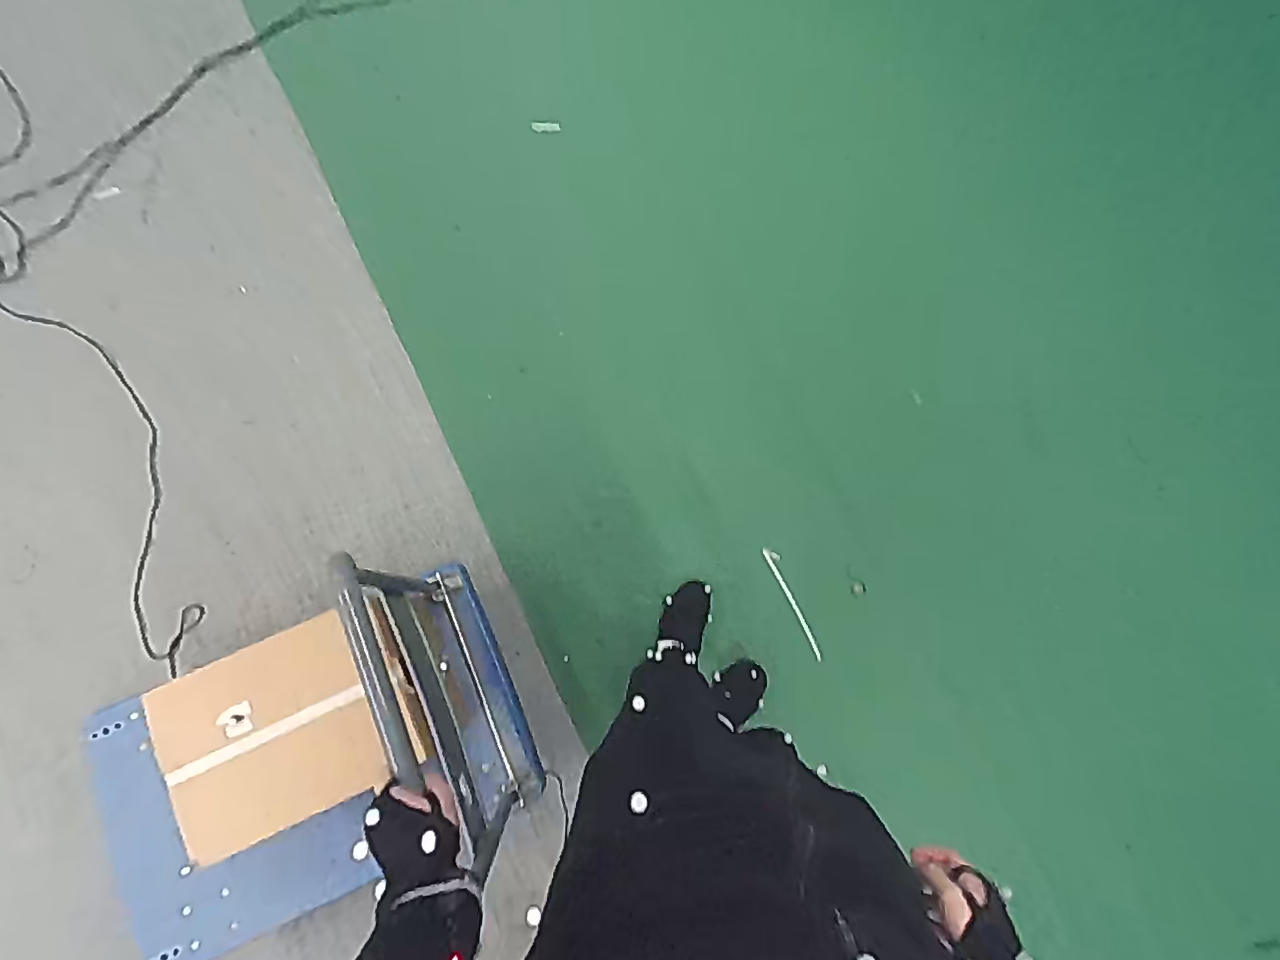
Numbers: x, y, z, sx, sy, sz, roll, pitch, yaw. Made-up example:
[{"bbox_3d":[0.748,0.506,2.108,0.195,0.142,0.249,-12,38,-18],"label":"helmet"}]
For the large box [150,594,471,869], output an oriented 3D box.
[{"bbox_3d":[-0.615,0.454,1.083,0.408,0.320,0.320,-24,80,-7],"label":"large box"}]
